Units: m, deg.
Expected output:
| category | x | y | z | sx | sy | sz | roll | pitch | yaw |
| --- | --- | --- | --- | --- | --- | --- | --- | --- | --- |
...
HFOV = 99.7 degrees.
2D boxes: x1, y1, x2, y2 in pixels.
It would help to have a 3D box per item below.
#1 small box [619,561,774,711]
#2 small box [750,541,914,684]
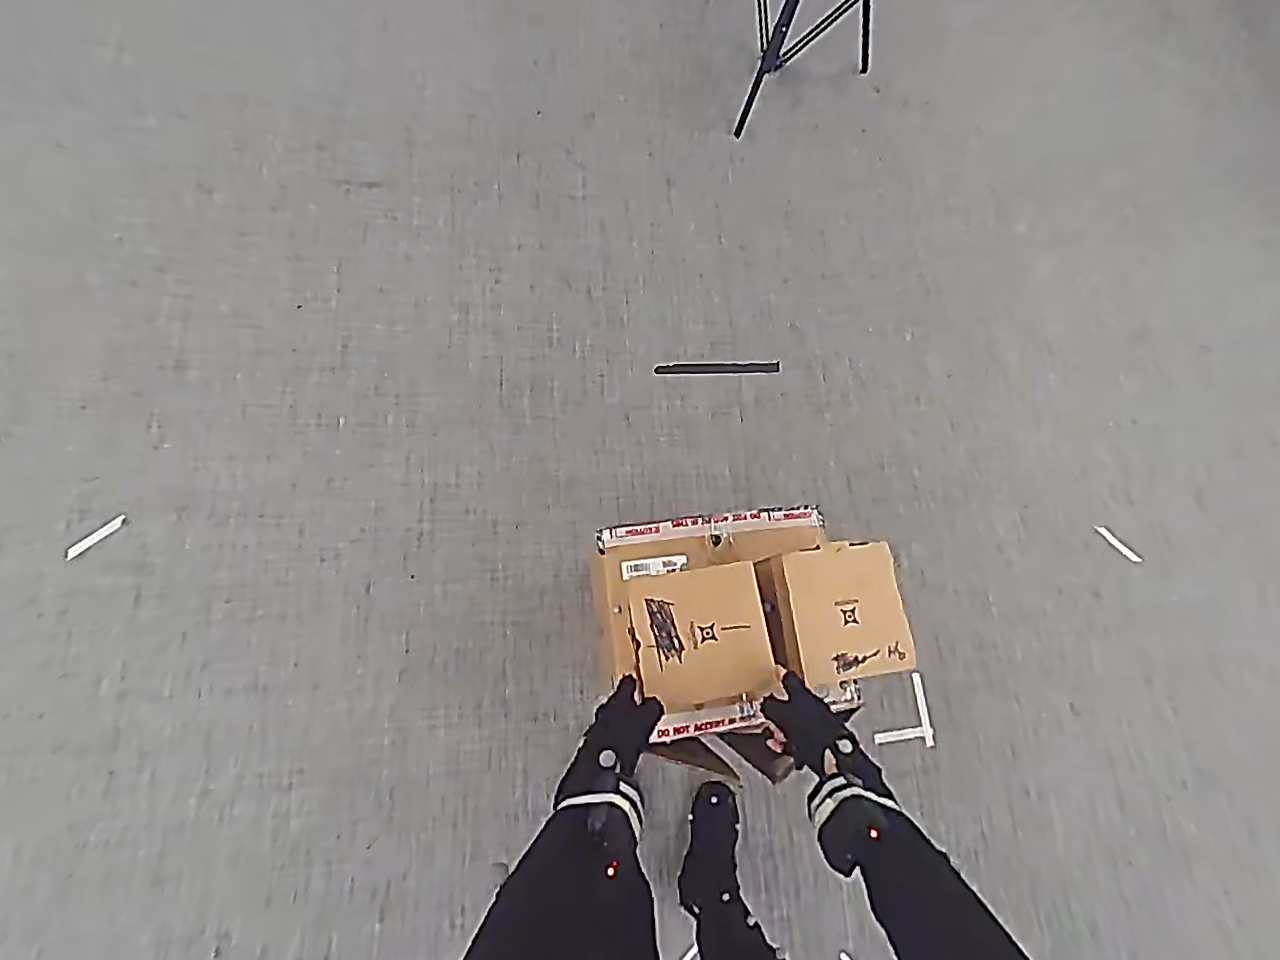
| category | x | y | z | sx | sy | sz | roll | pitch | yaw |
| --- | --- | --- | --- | --- | --- | --- | --- | --- | --- |
| small box | 0.065 | 0.217 | 0.765 | 0.179 | 0.176 | 0.168 | -8 | 76 | -8 |
| small box | 0.262 | 0.196 | 0.799 | 0.168 | 0.176 | 0.179 | -4 | 74 | -11 |
